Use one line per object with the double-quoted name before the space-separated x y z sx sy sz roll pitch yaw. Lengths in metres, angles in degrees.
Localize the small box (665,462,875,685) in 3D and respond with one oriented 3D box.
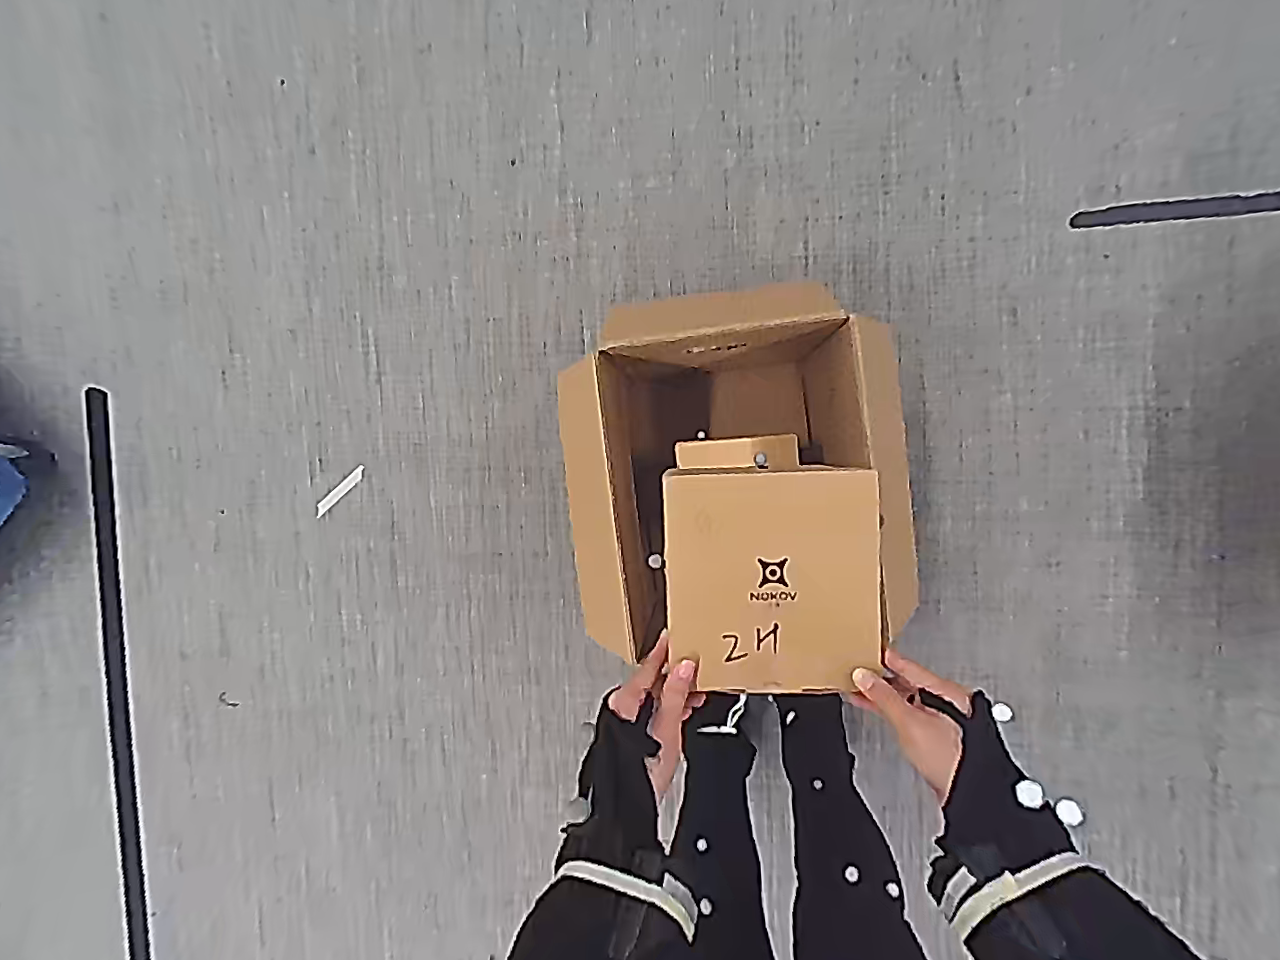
"small box" 0.107 0.073 0.507 0.168 0.176 0.179 -1 93 5
